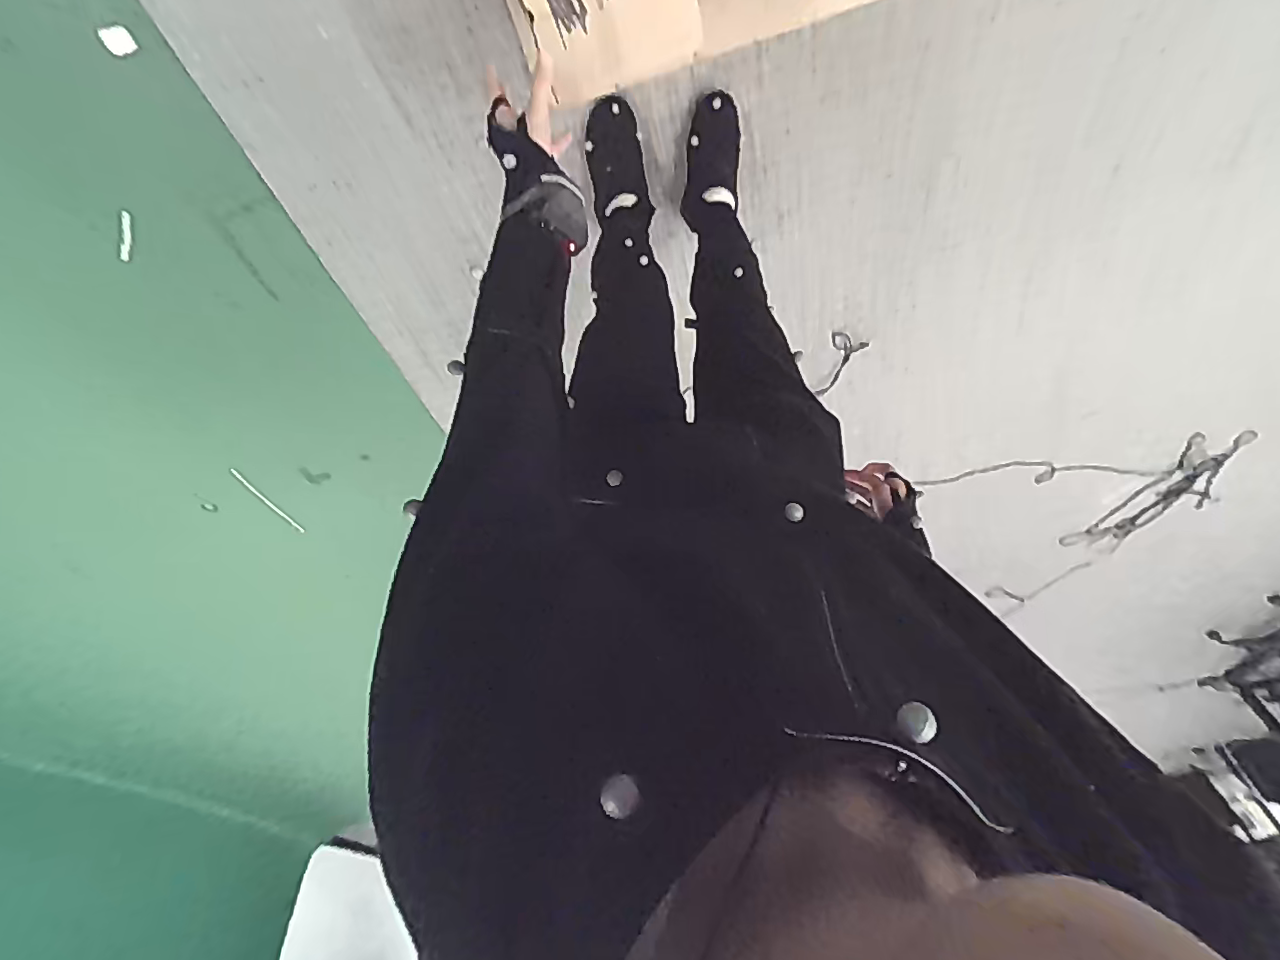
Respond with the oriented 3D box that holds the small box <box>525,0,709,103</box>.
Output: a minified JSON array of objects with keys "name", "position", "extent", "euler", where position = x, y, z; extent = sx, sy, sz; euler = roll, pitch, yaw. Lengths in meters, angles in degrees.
[{"name":"small box","position":[-0.036,-0.554,0.596],"extent":[0.179,0.176,0.168],"euler":[-16,135,9]}]
